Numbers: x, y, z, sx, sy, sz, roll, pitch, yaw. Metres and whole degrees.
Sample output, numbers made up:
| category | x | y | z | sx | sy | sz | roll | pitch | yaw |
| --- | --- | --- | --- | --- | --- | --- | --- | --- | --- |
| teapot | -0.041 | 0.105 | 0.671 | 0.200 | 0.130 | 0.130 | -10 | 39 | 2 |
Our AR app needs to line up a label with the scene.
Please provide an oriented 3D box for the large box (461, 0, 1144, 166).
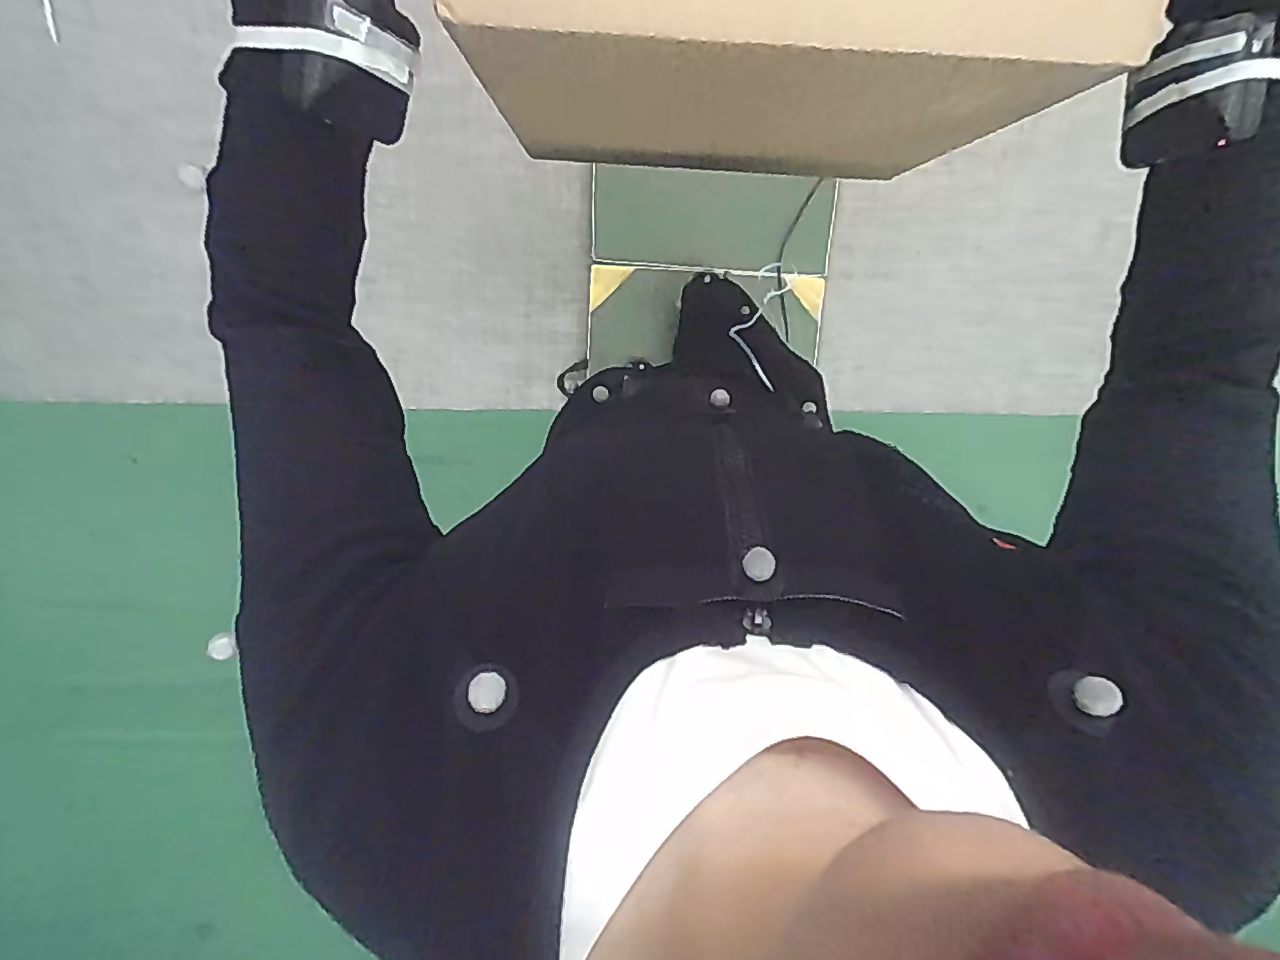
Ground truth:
| category | x | y | z | sx | sy | sz | roll | pitch | yaw |
| --- | --- | --- | --- | --- | --- | --- | --- | --- | --- |
| large box | 0.090 | -0.449 | 0.405 | 0.408 | 0.320 | 0.320 | 1 | 109 | -4 |
